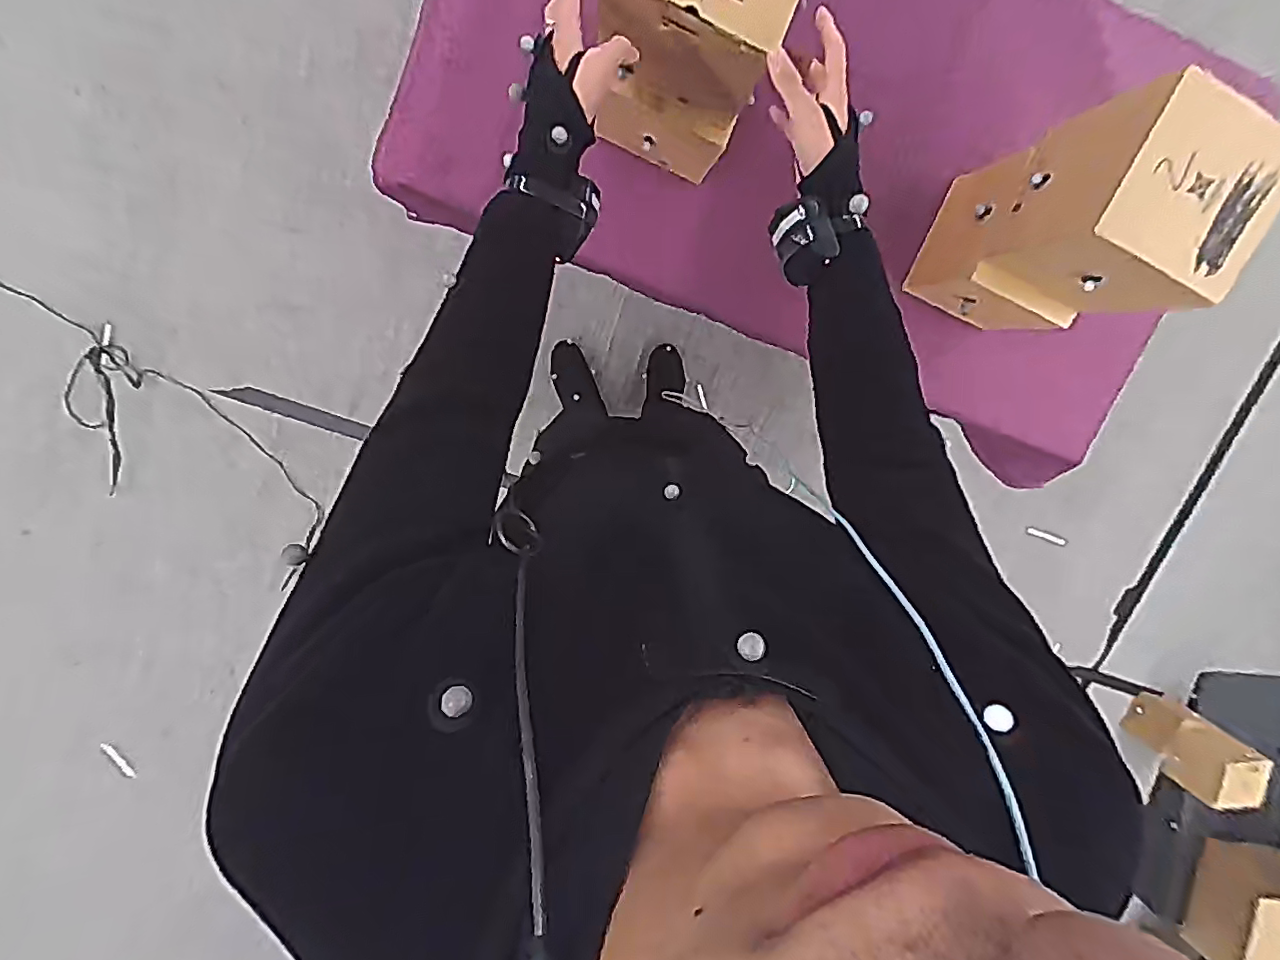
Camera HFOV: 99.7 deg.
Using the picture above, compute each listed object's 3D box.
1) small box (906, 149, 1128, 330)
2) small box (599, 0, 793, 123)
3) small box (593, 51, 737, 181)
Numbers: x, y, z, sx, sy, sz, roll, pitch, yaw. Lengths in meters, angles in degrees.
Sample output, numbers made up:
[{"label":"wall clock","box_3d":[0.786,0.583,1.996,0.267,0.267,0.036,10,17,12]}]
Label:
[{"label":"small box","box_3d":[0.523,-0.329,0.784,0.168,0.176,0.179,21,101,-10]},{"label":"small box","box_3d":[0.064,-0.492,0.524,0.168,0.176,0.179,20,101,-11]},{"label":"small box","box_3d":[0.048,-0.516,0.687,0.168,0.176,0.179,21,102,-11]}]
